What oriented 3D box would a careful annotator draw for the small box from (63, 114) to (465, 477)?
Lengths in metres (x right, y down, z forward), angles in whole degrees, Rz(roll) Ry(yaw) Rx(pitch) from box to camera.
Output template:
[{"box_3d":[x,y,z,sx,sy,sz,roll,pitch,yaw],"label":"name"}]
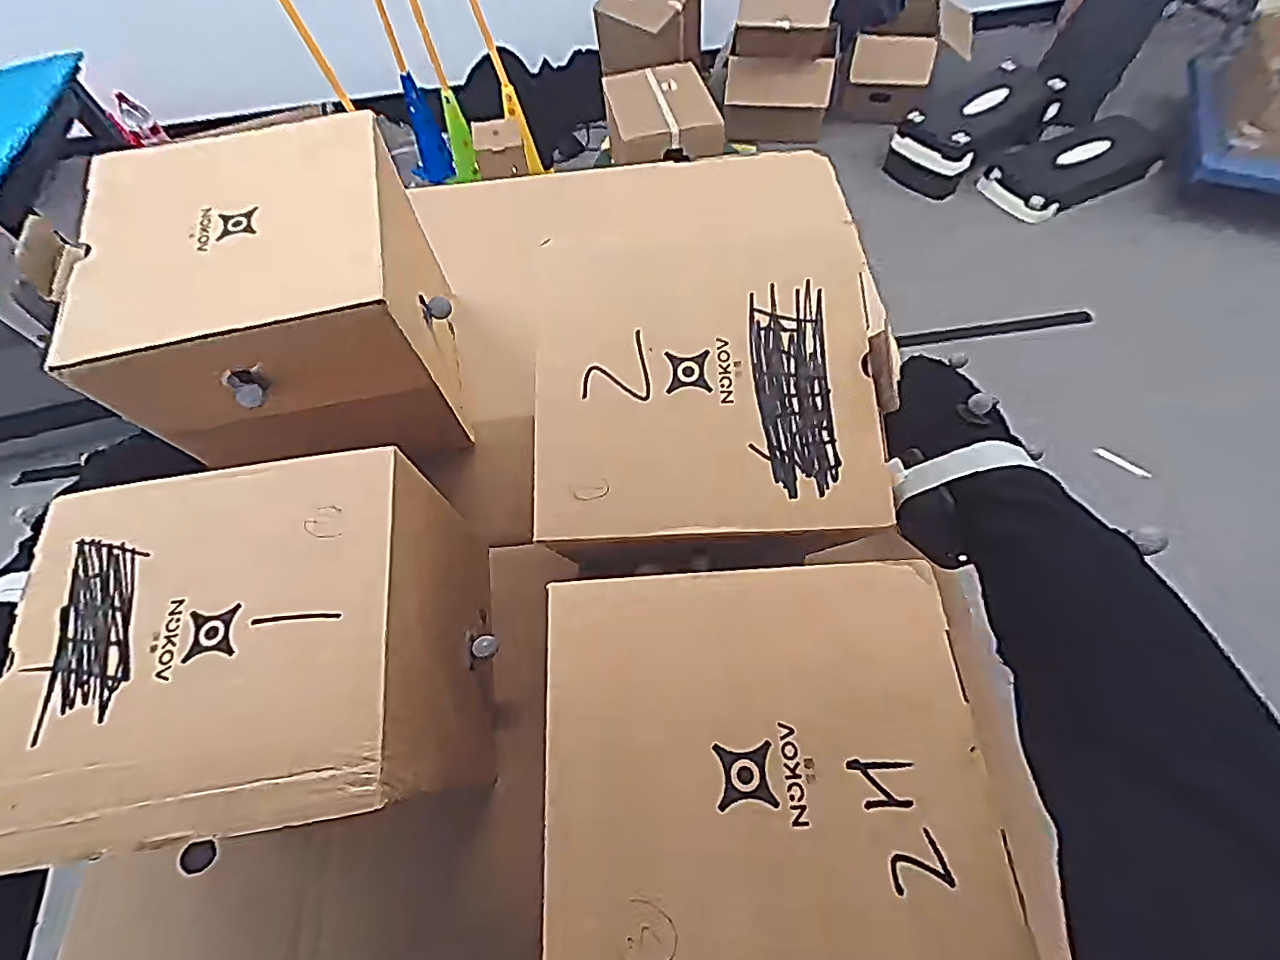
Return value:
[{"box_3d":[-0.240,-0.121,0.398,0.179,0.176,0.168,-14,66,-3],"label":"small box"}]
